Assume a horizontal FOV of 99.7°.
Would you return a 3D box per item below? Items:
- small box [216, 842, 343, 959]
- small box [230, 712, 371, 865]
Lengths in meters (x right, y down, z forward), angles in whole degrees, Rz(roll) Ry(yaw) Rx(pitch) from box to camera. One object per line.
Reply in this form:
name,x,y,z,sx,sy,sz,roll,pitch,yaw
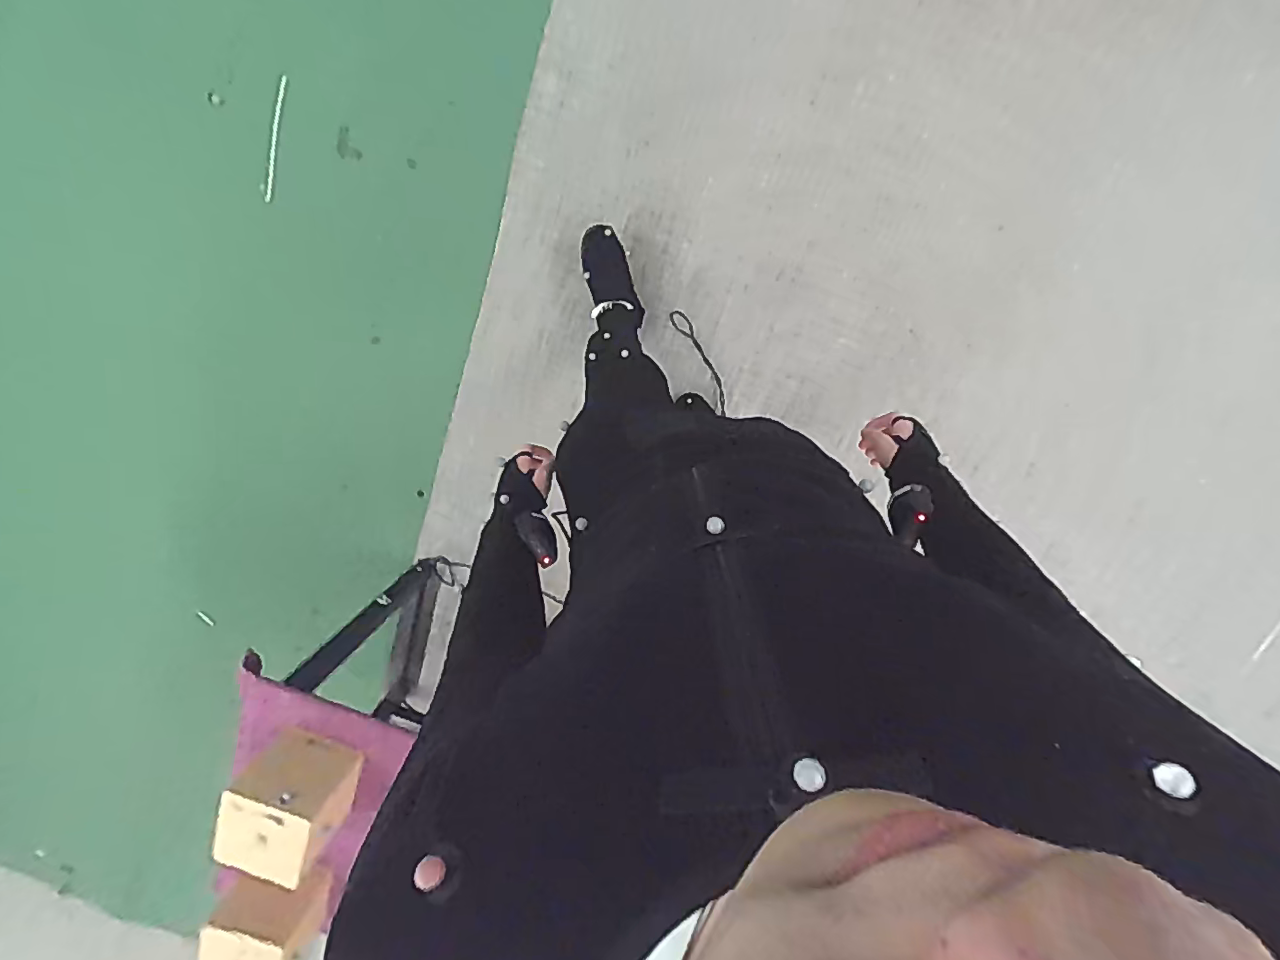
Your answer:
small box,-0.787,0.927,1.194,0.168,0.176,0.179,18,107,-2
small box,-0.671,0.610,1.083,0.168,0.176,0.179,21,108,-1
